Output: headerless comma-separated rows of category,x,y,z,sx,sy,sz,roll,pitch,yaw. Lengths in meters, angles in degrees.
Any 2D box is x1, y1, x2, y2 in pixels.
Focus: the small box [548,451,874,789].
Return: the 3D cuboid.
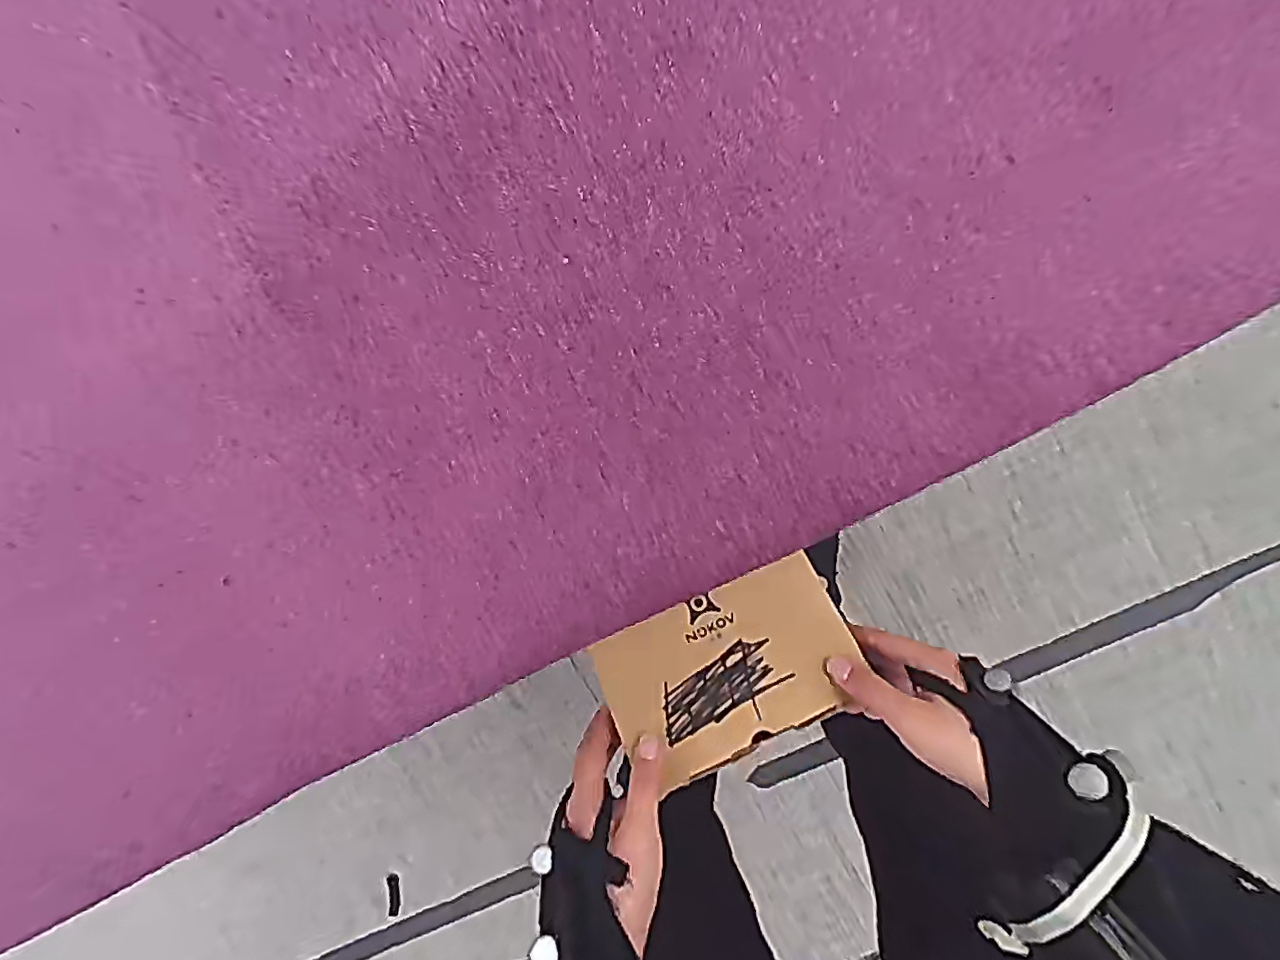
small box,0.050,0.109,0.435,0.168,0.176,0.179,-25,69,-2
